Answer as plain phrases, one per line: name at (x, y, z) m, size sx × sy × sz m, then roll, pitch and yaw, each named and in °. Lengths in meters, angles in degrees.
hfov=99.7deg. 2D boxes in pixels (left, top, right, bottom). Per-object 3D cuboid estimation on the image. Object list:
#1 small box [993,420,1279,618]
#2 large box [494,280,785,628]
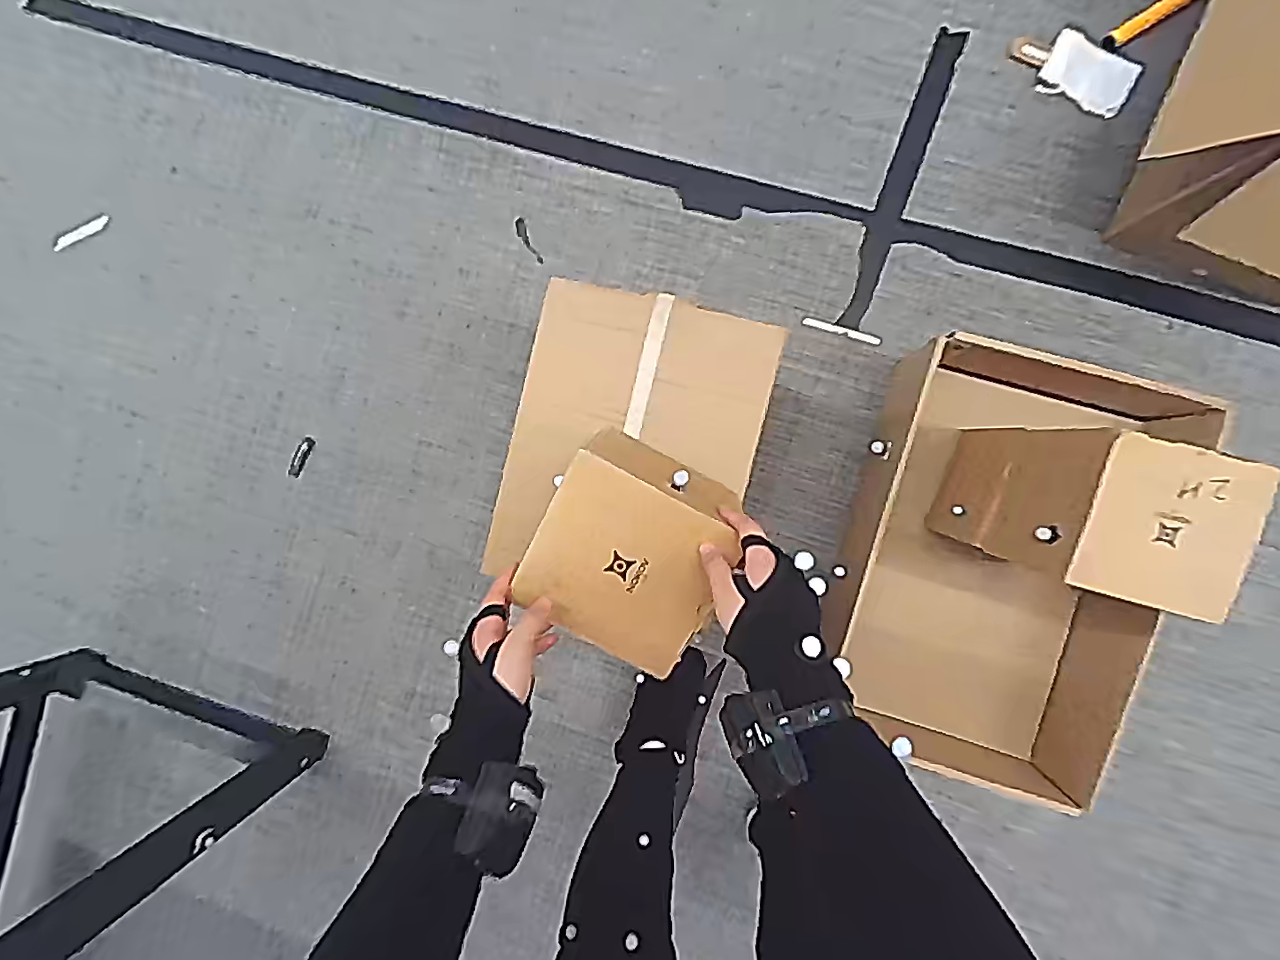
small box at (0.563, 0.036, 0.643) m, size 0.168 × 0.176 × 0.179 m, roll 16°, pitch 95°, yaw 3°
large box at (0.007, -0.043, 0.844) m, size 0.320 × 0.320 × 0.408 m, roll 14°, pitch 94°, yaw 6°
